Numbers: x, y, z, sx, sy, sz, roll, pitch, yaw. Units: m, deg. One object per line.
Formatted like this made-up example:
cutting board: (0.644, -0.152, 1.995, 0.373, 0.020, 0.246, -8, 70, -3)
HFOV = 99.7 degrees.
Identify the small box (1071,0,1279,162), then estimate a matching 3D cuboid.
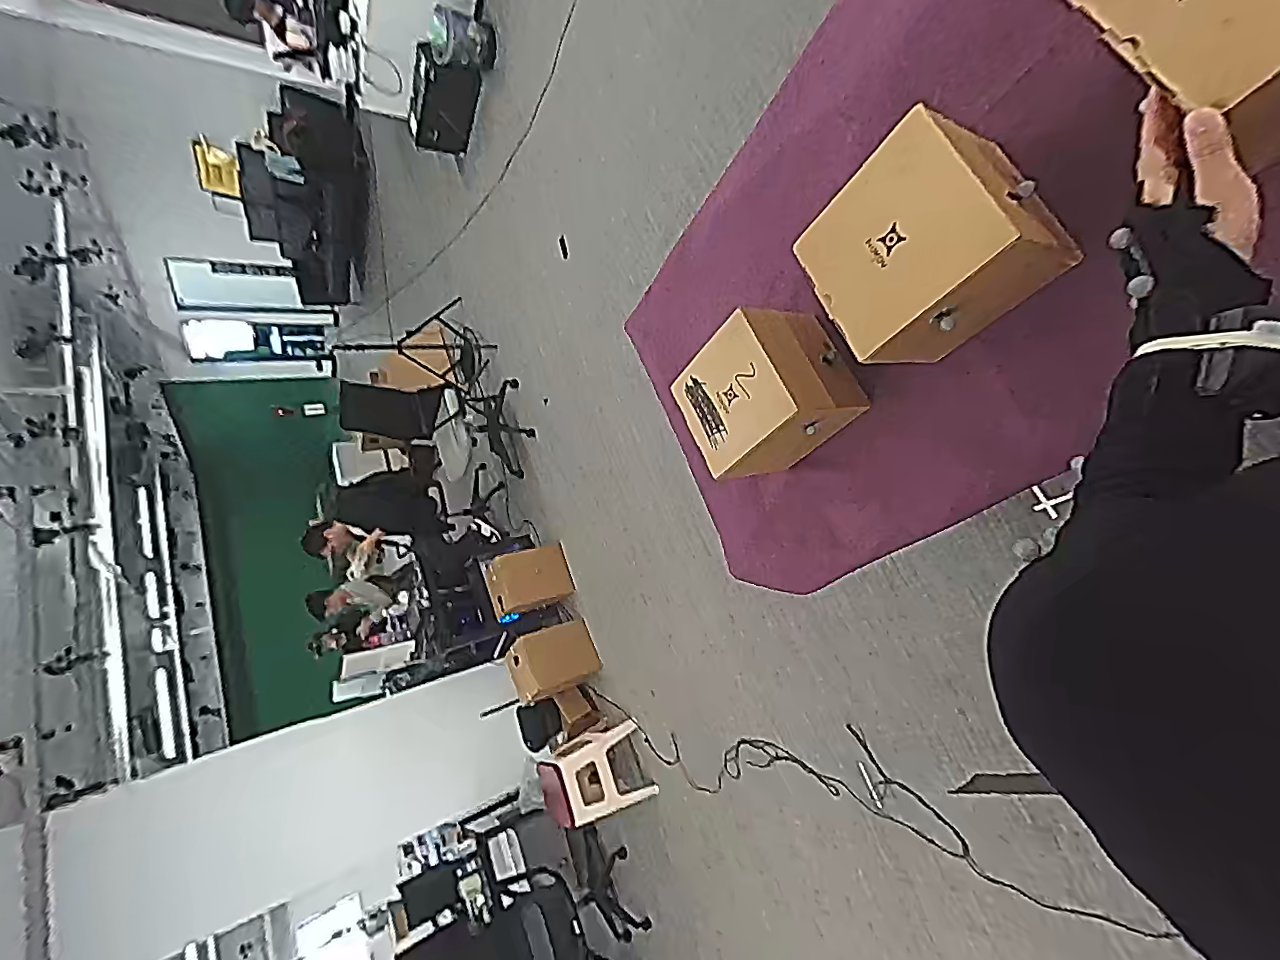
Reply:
small box: (0.438, -0.352, 0.355, 0.179, 0.176, 0.168, -47, 59, 50)

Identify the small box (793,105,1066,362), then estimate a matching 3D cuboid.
small box: (0.309, -0.247, 0.578, 0.179, 0.176, 0.168, -45, 61, 51)
